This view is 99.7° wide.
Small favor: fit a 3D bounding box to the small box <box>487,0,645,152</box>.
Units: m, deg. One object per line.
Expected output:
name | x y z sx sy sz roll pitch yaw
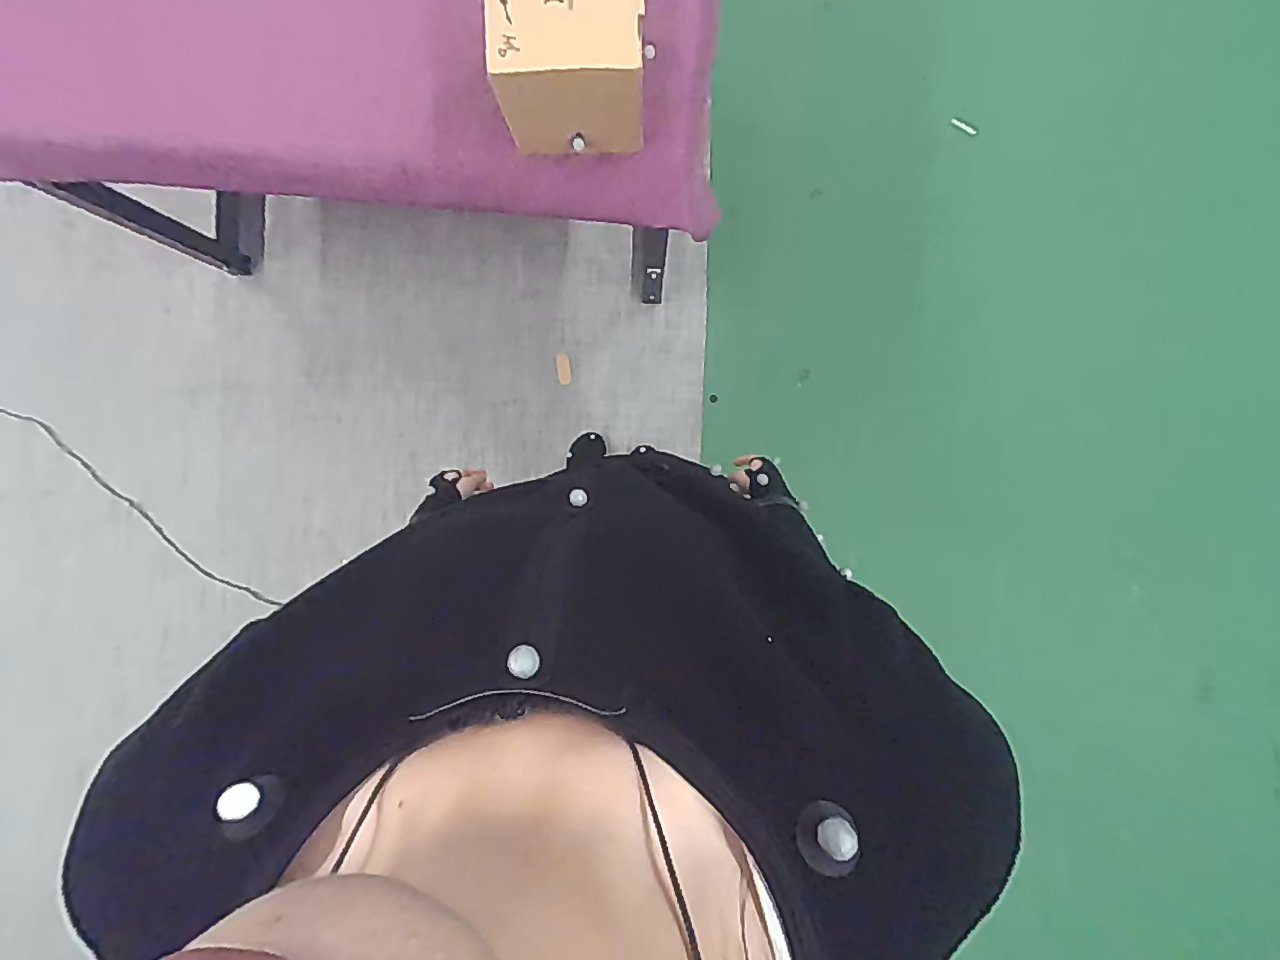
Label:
small box | -0.083 -0.537 0.675 0.179 0.176 0.168 -1 93 1
